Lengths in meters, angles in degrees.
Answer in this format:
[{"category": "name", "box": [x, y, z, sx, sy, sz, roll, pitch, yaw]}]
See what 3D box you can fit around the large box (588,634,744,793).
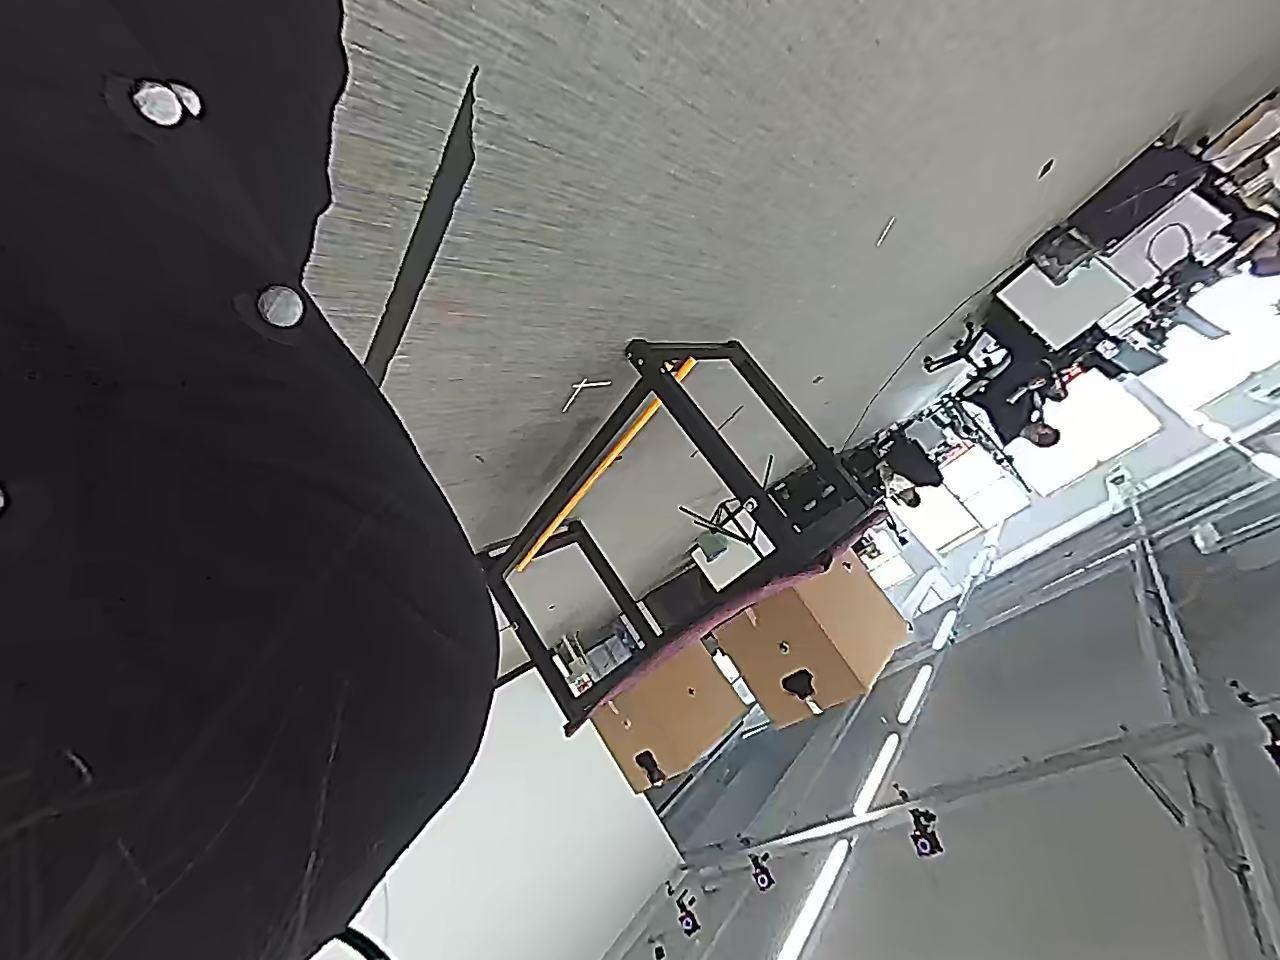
[{"category": "large box", "box": [0.094, 0.826, 1.951, 0.408, 0.320, 0.320, -19, 158, -51]}]
